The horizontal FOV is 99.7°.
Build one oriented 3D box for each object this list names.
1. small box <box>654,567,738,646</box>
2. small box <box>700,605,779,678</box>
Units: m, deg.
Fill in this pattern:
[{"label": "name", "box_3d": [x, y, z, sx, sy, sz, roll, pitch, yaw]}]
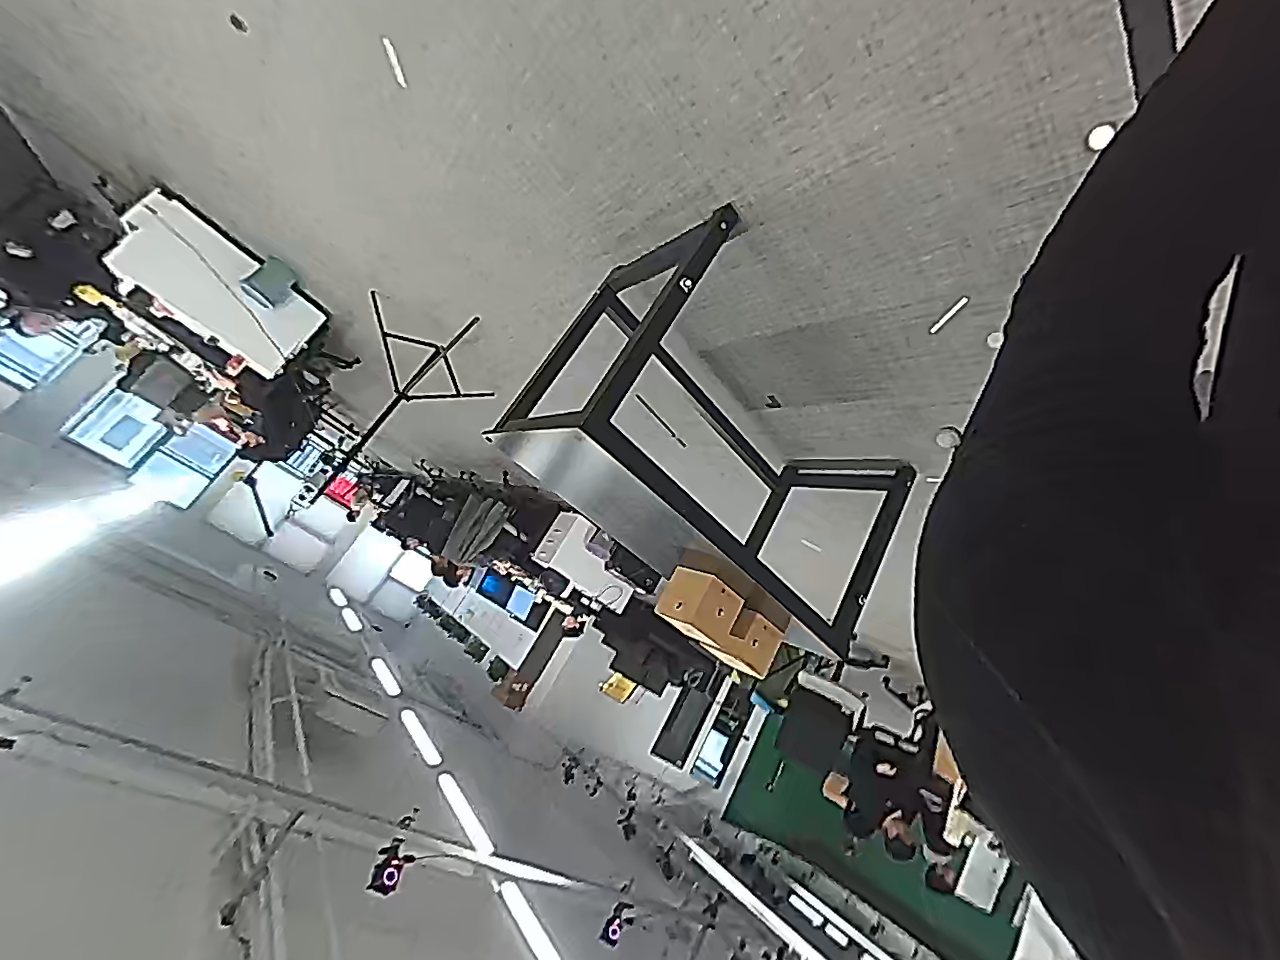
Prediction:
[{"label": "small box", "box_3d": [0.183, 0.389, 1.688, 0.168, 0.176, 0.179, 43, 159, -29]}, {"label": "small box", "box_3d": [0.339, 0.526, 1.807, 0.168, 0.176, 0.179, 43, 160, -28]}]
